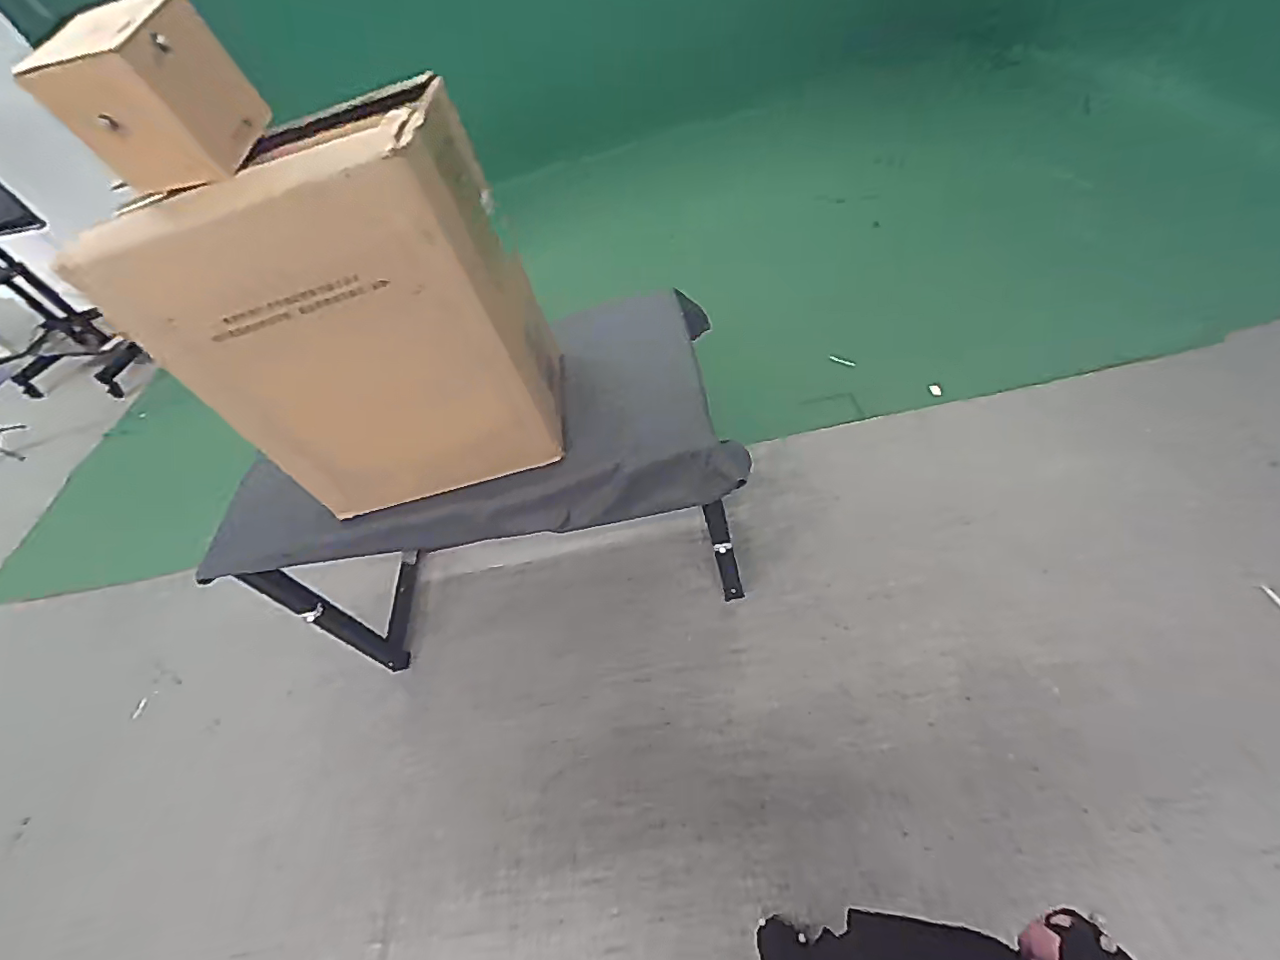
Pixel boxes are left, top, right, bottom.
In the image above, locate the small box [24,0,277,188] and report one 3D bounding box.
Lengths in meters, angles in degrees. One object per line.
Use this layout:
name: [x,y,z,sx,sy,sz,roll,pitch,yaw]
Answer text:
small box: [-0.680,-0.549,0.774,0.179,0.176,0.168,-2,63,13]
